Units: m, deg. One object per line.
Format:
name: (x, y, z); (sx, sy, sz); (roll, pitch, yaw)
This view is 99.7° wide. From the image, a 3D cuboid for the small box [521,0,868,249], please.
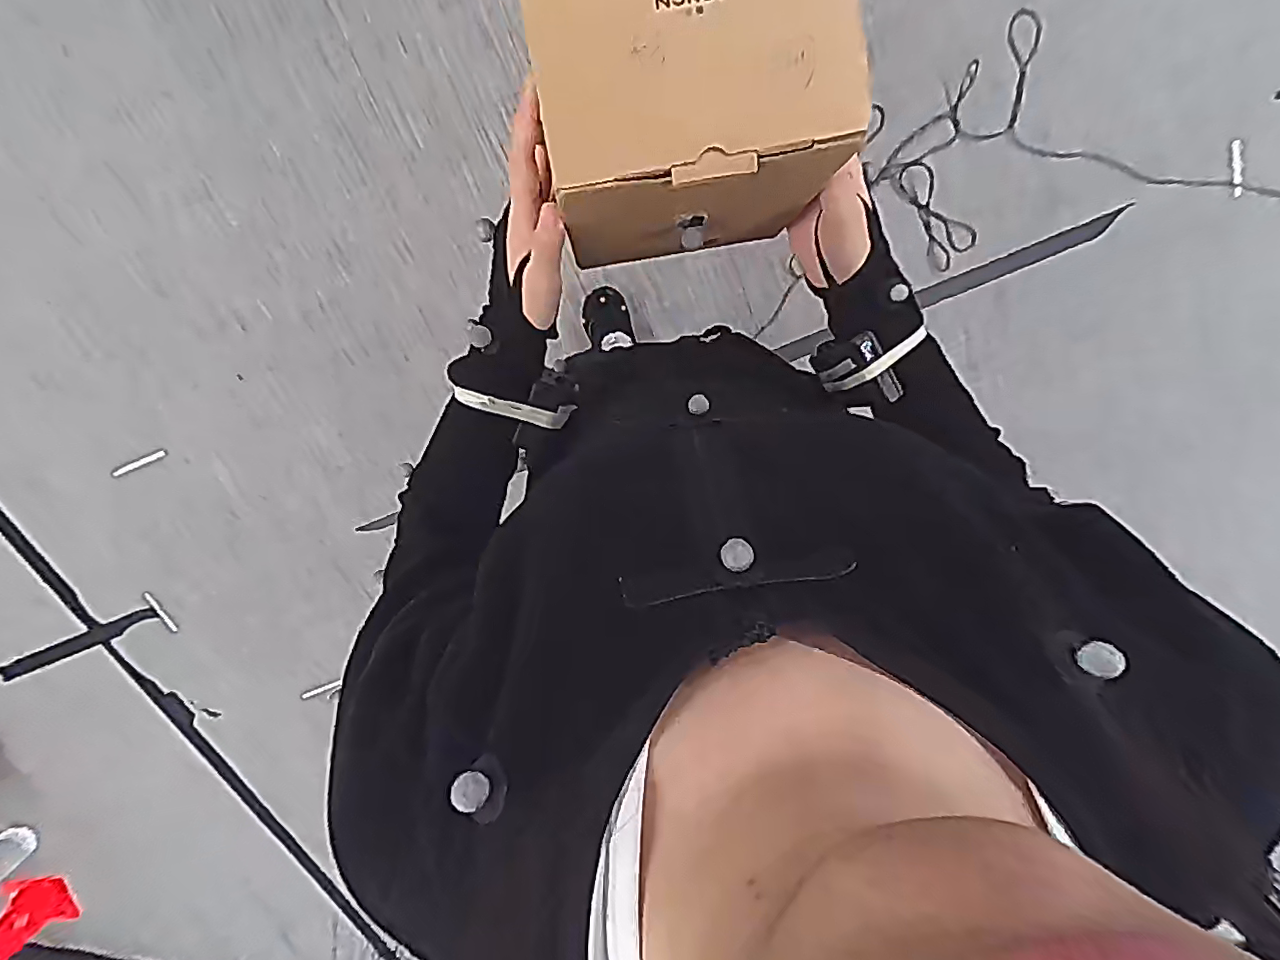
small box: (0.020, -0.258, 0.338); (0.168, 0.176, 0.179); (-10, 100, -1)
